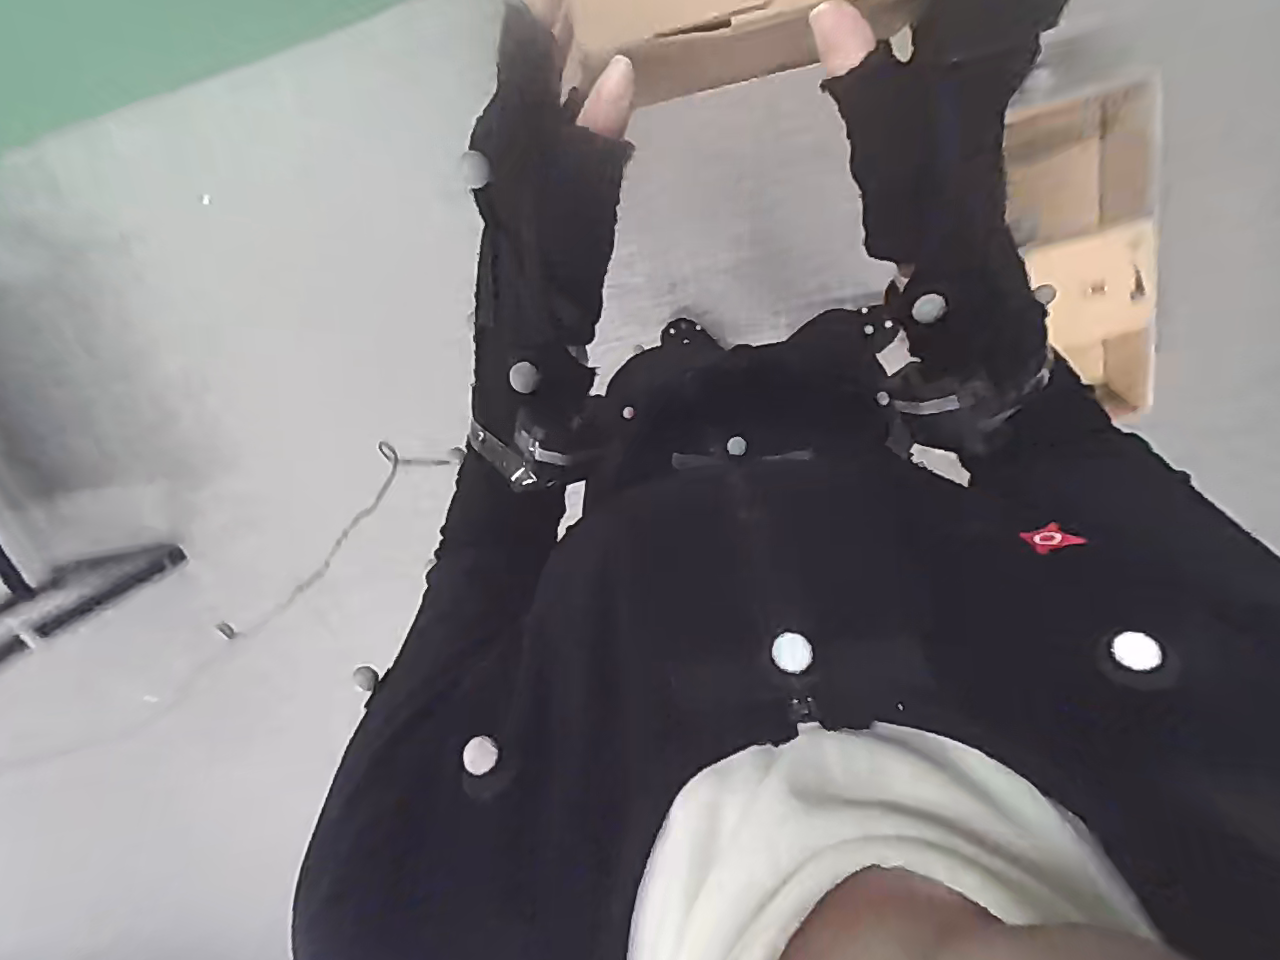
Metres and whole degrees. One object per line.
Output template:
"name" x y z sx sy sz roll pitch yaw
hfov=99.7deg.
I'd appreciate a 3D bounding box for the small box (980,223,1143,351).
"small box" 0.720 -0.334 0.947 0.179 0.176 0.168 -12 109 12
